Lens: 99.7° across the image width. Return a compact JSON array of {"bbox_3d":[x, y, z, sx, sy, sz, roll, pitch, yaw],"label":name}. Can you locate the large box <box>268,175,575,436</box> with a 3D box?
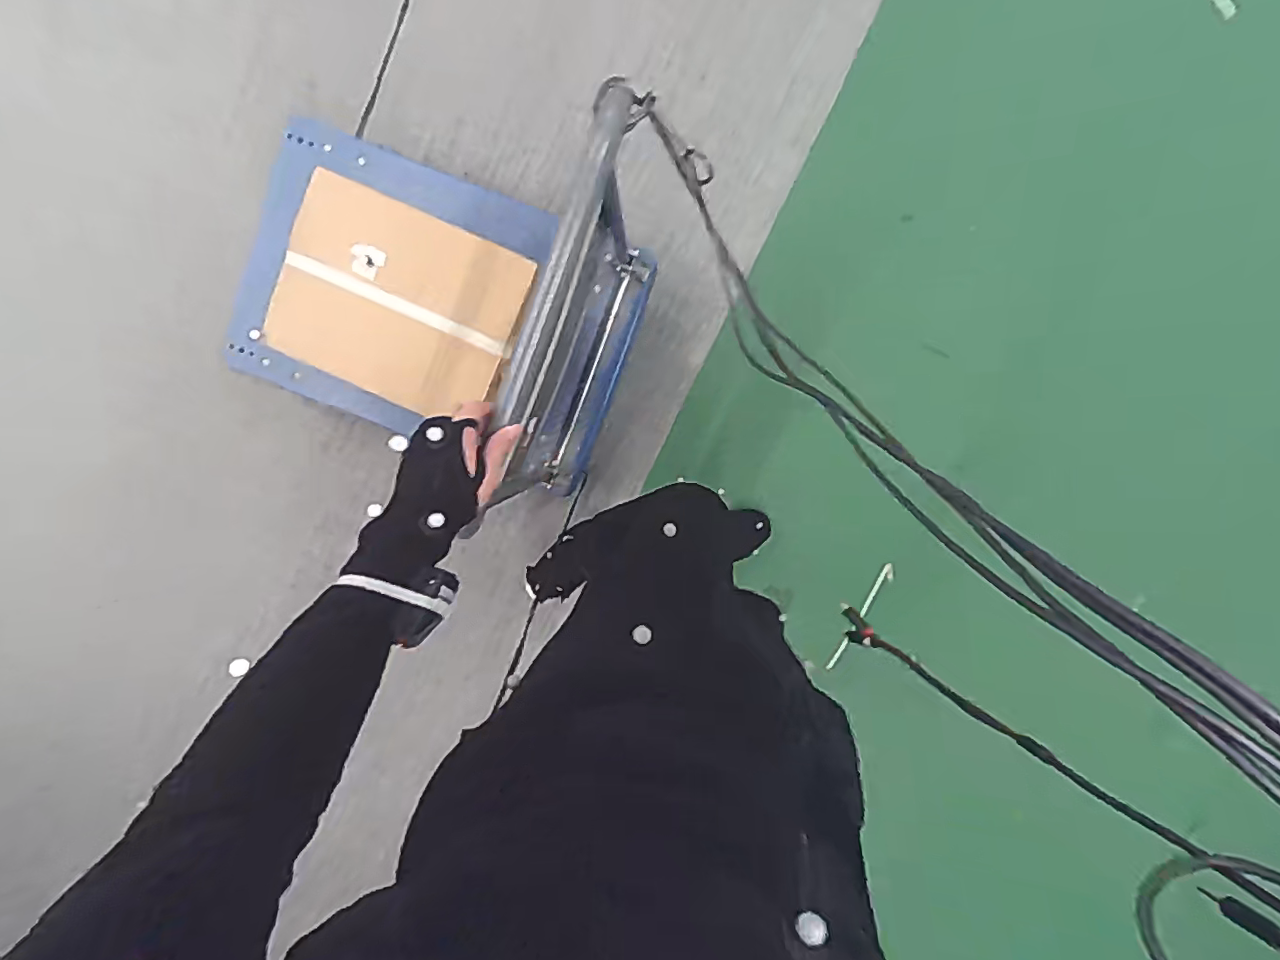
[{"bbox_3d":[-0.385,-0.303,1.046,0.408,0.320,0.320,24,97,1],"label":"large box"}]
